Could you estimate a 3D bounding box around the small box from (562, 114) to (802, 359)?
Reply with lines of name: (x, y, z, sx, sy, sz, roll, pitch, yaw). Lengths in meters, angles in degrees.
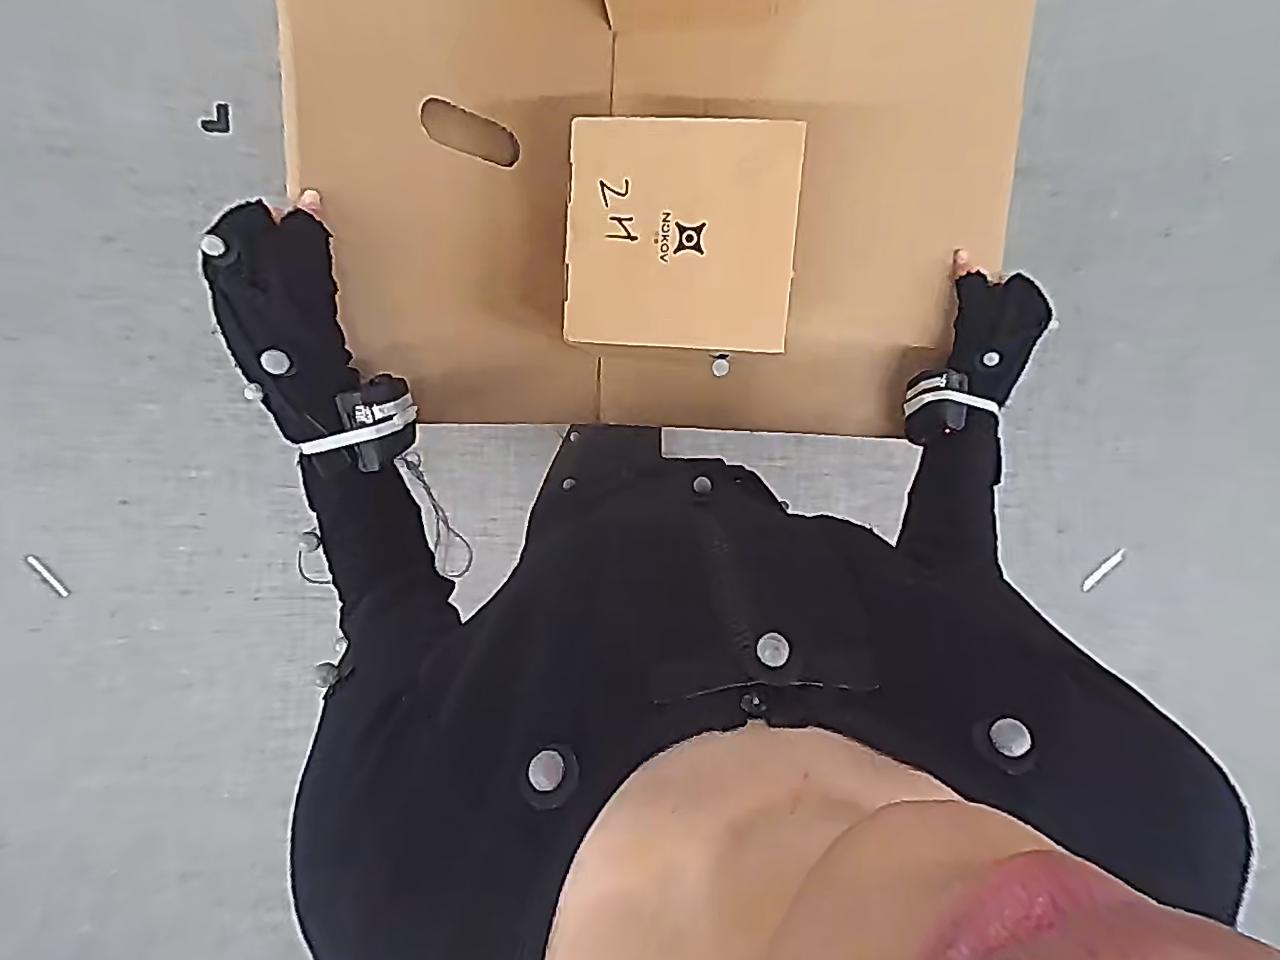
small box: (0.036, -0.204, 0.498, 0.179, 0.176, 0.168, 5, 99, 5)
